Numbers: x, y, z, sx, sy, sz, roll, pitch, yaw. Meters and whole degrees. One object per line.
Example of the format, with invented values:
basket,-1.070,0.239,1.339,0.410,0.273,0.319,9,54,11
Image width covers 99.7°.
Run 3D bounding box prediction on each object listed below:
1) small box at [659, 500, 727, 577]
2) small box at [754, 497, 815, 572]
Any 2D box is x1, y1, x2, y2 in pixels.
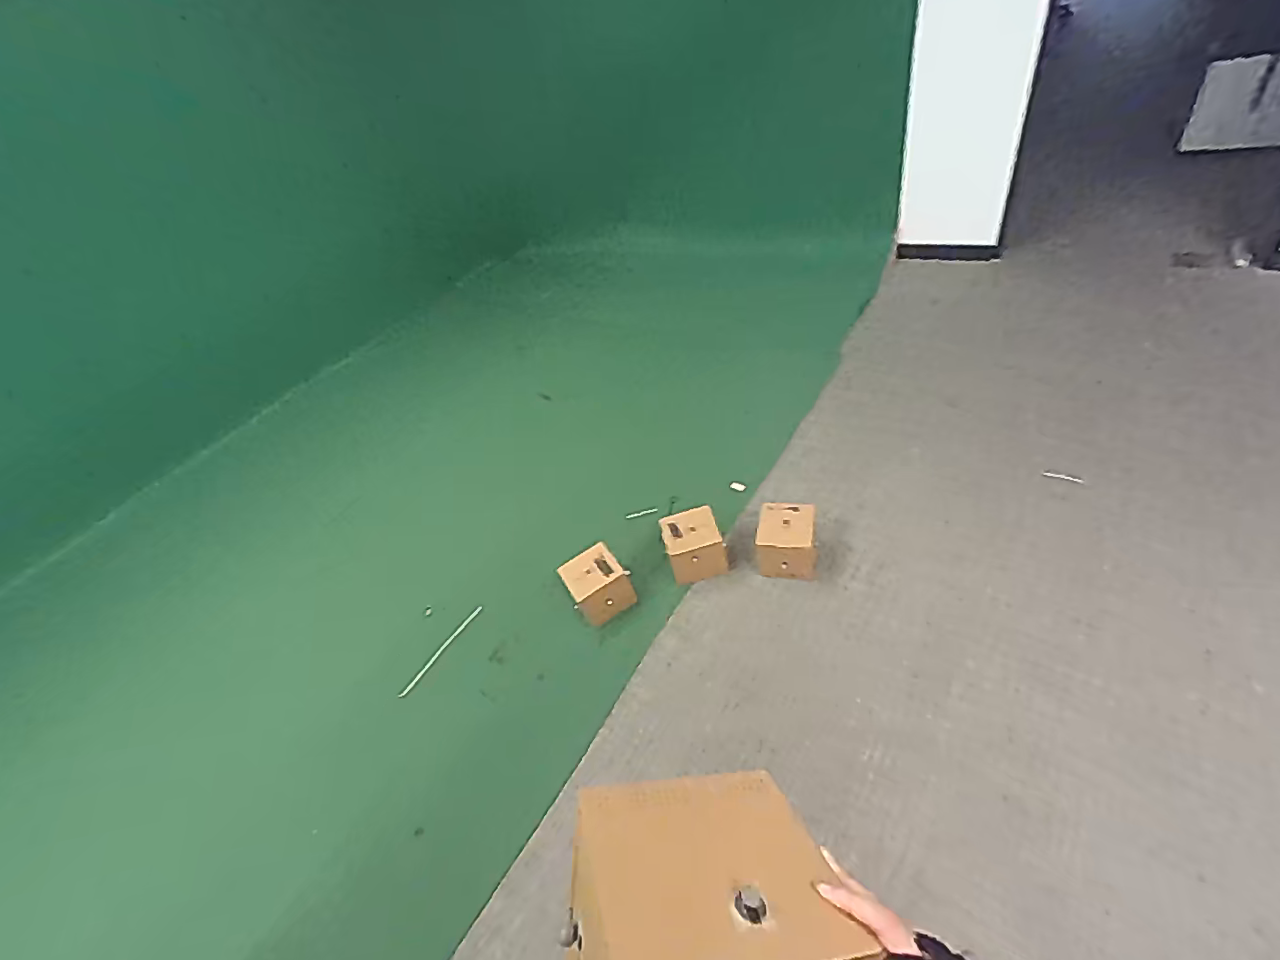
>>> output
small box,0.179,0.200,1.801,0.179,0.176,0.168,-16,43,2
small box,0.467,0.176,1.725,0.168,0.176,0.179,2,48,21
